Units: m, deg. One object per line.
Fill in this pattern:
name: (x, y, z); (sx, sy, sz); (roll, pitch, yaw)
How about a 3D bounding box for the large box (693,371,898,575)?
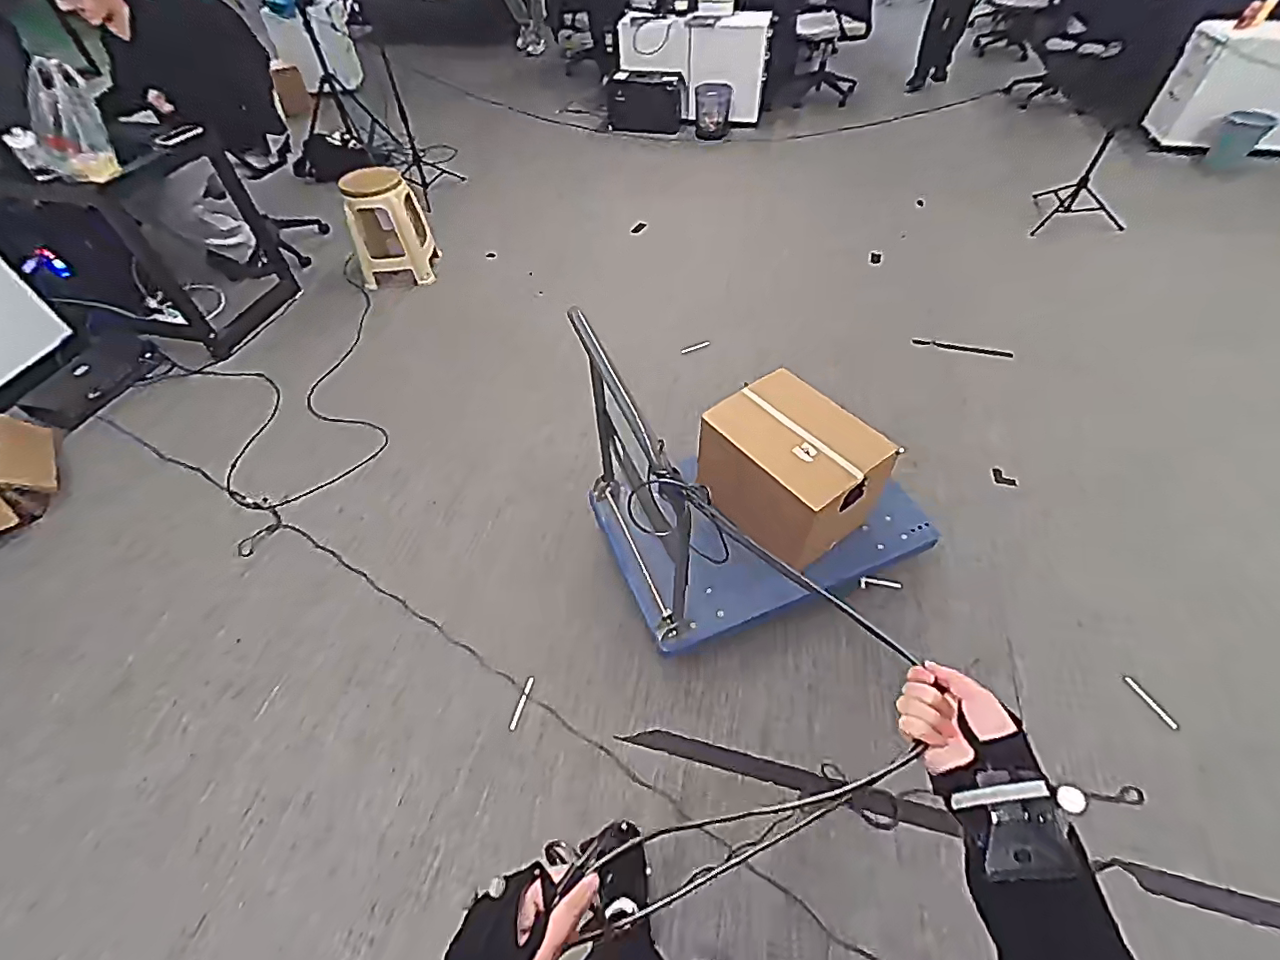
large box: (0.396, -0.024, 1.482); (0.320, 0.320, 0.408); (-32, 58, -21)
